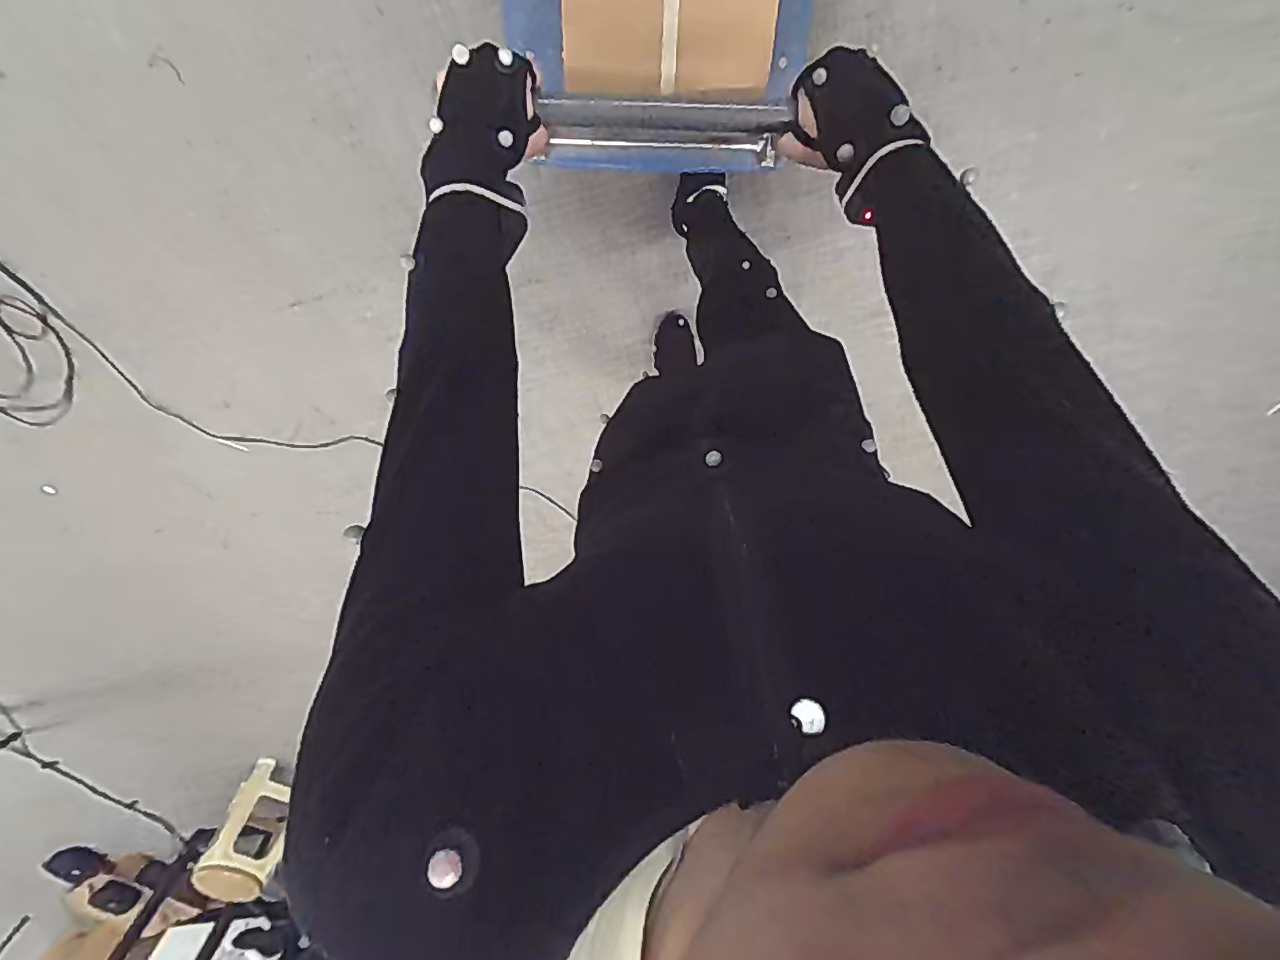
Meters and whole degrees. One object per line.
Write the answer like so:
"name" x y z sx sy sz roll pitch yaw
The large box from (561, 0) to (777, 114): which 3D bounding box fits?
"large box" 0.048 -0.836 0.864 0.320 0.320 0.408 2 120 0
